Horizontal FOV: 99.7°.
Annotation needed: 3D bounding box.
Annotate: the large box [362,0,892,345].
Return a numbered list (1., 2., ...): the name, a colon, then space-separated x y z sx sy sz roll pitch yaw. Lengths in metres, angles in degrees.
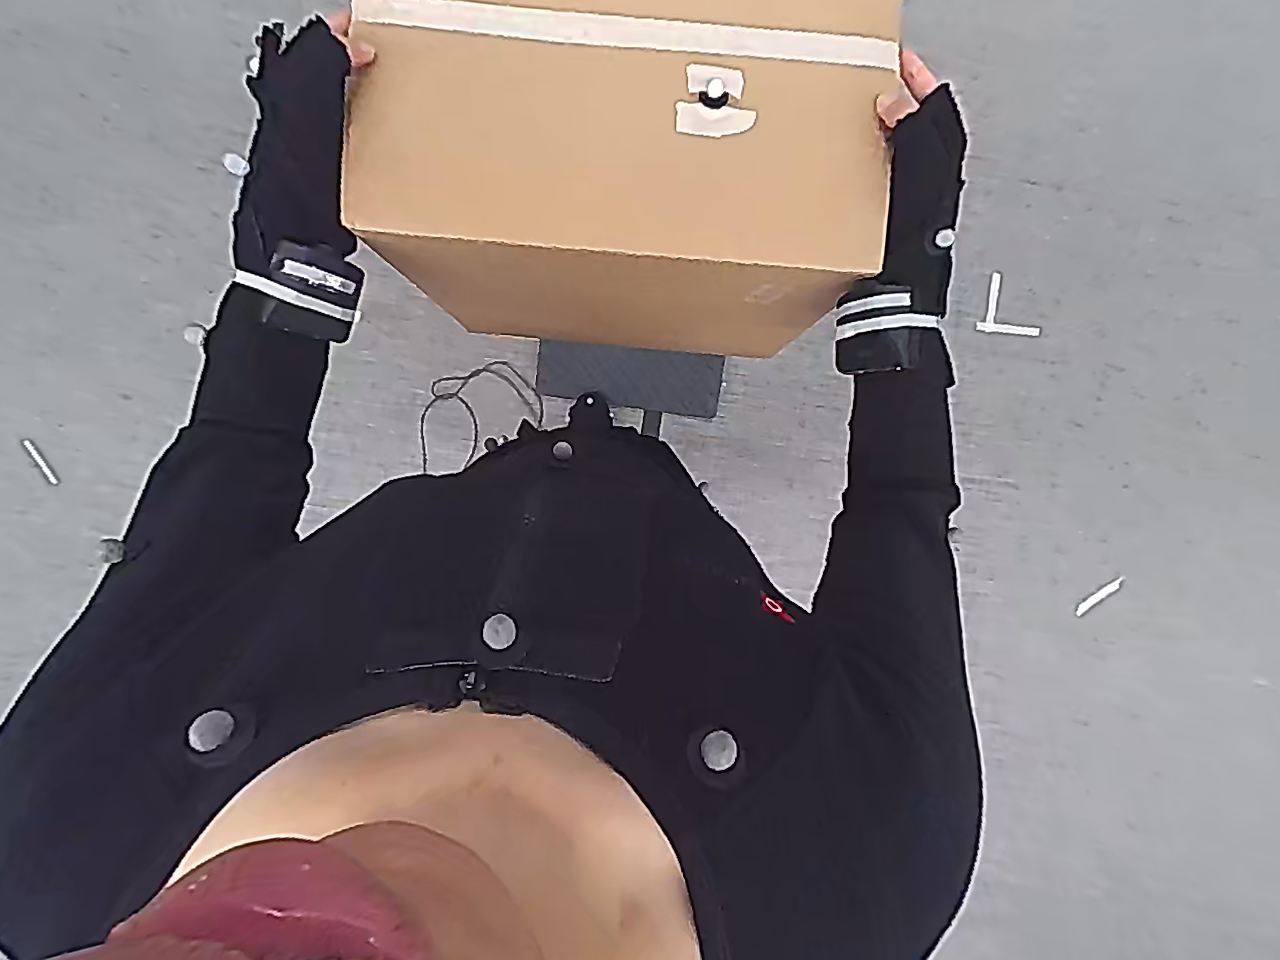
1. large box: -0.011 -0.339 0.564 0.408 0.320 0.320 4 91 -2

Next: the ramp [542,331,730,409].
1. ramp: 0.039 -0.699 1.346 0.509 0.206 0.991 6 94 -2
